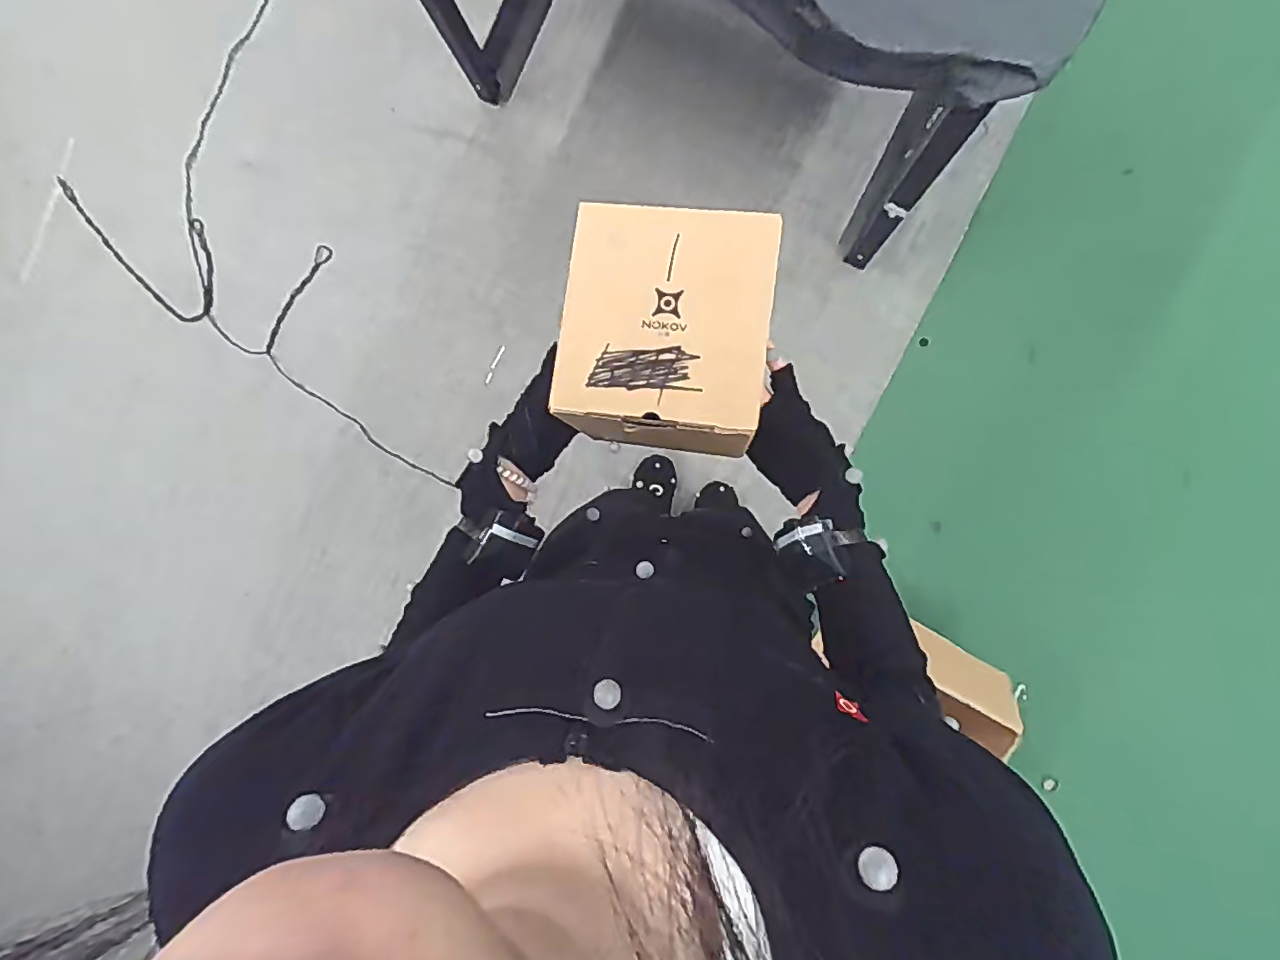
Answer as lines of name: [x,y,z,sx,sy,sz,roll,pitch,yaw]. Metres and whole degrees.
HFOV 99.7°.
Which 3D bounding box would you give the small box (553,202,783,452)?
small box: [0.030,-0.126,0.506,0.168,0.176,0.179,7,87,7]
